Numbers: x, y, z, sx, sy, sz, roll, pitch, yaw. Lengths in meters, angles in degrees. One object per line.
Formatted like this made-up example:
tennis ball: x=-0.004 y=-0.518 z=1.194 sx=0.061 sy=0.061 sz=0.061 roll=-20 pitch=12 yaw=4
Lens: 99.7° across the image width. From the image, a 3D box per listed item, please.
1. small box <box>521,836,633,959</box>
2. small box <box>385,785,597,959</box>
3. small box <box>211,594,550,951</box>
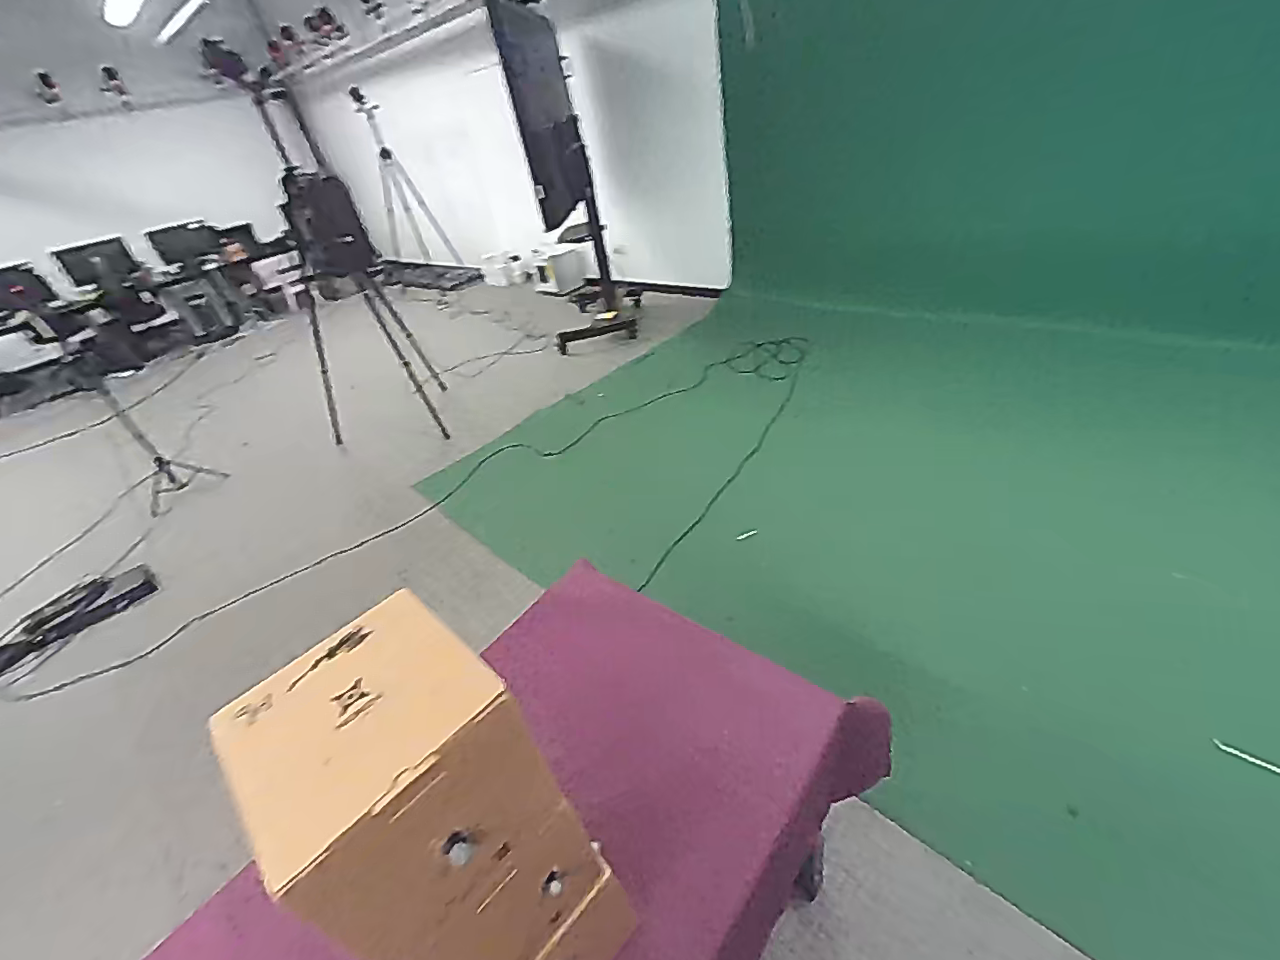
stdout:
small box: x=-0.130 y=0.498 z=0.631 sx=0.179 sy=0.176 sz=0.168 roll=-37 pitch=42 yaw=-29
small box: x=-0.167 y=0.366 z=0.543 sx=0.168 sy=0.176 sz=0.179 roll=-36 pitch=40 yaw=-30
small box: x=-0.200 y=0.236 z=0.448 sx=0.179 sy=0.176 sz=0.168 roll=24 pitch=48 yaw=40
